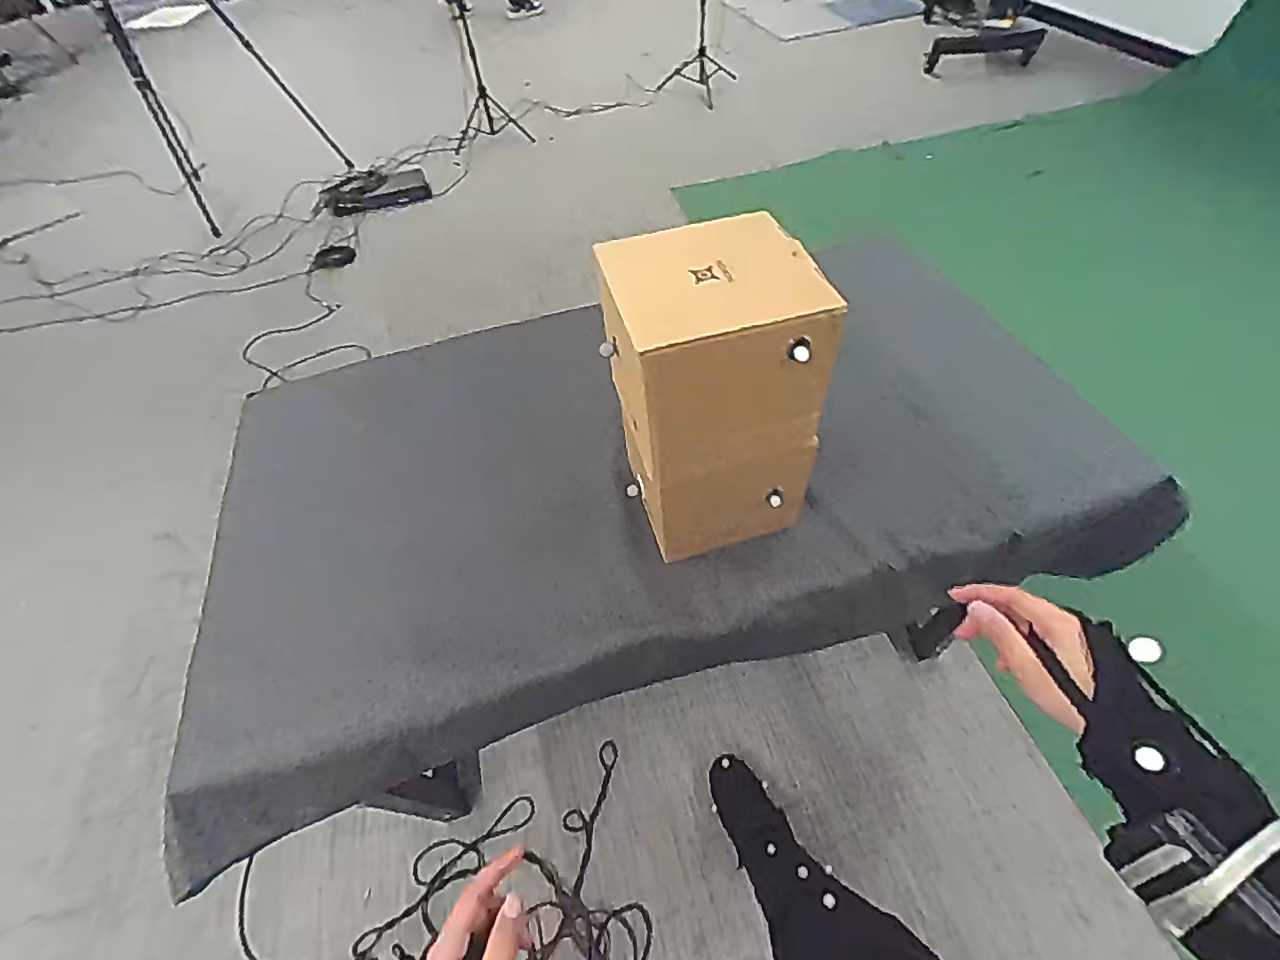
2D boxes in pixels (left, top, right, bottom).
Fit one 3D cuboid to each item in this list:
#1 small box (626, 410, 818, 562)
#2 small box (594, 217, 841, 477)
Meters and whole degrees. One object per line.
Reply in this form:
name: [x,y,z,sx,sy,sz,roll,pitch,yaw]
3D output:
small box: [0.087,-0.026,0.658,0.179,0.176,0.168,-17,52,-6]
small box: [0.065,-0.124,0.530,0.179,0.176,0.168,-14,52,-6]
